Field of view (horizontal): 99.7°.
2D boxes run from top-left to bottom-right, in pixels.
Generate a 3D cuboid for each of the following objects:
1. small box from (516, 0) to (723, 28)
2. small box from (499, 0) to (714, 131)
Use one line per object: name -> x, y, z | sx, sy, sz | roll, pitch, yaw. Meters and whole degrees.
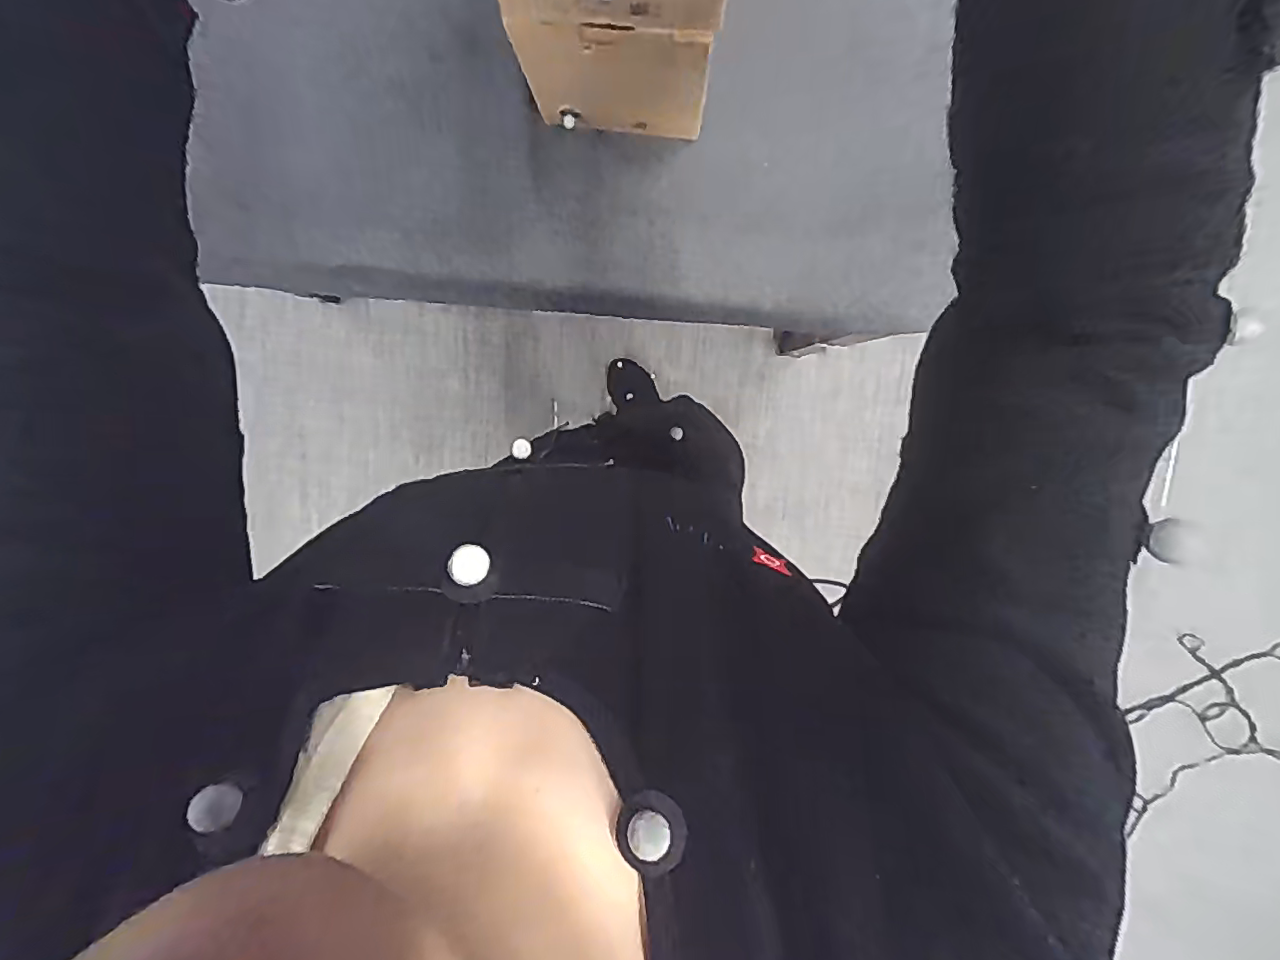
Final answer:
small box -> -0.017, -0.416, 0.311 | 0.168, 0.176, 0.179 | 5, 100, 2
small box -> -0.014, -0.440, 0.474 | 0.168, 0.176, 0.179 | 7, 99, 0
